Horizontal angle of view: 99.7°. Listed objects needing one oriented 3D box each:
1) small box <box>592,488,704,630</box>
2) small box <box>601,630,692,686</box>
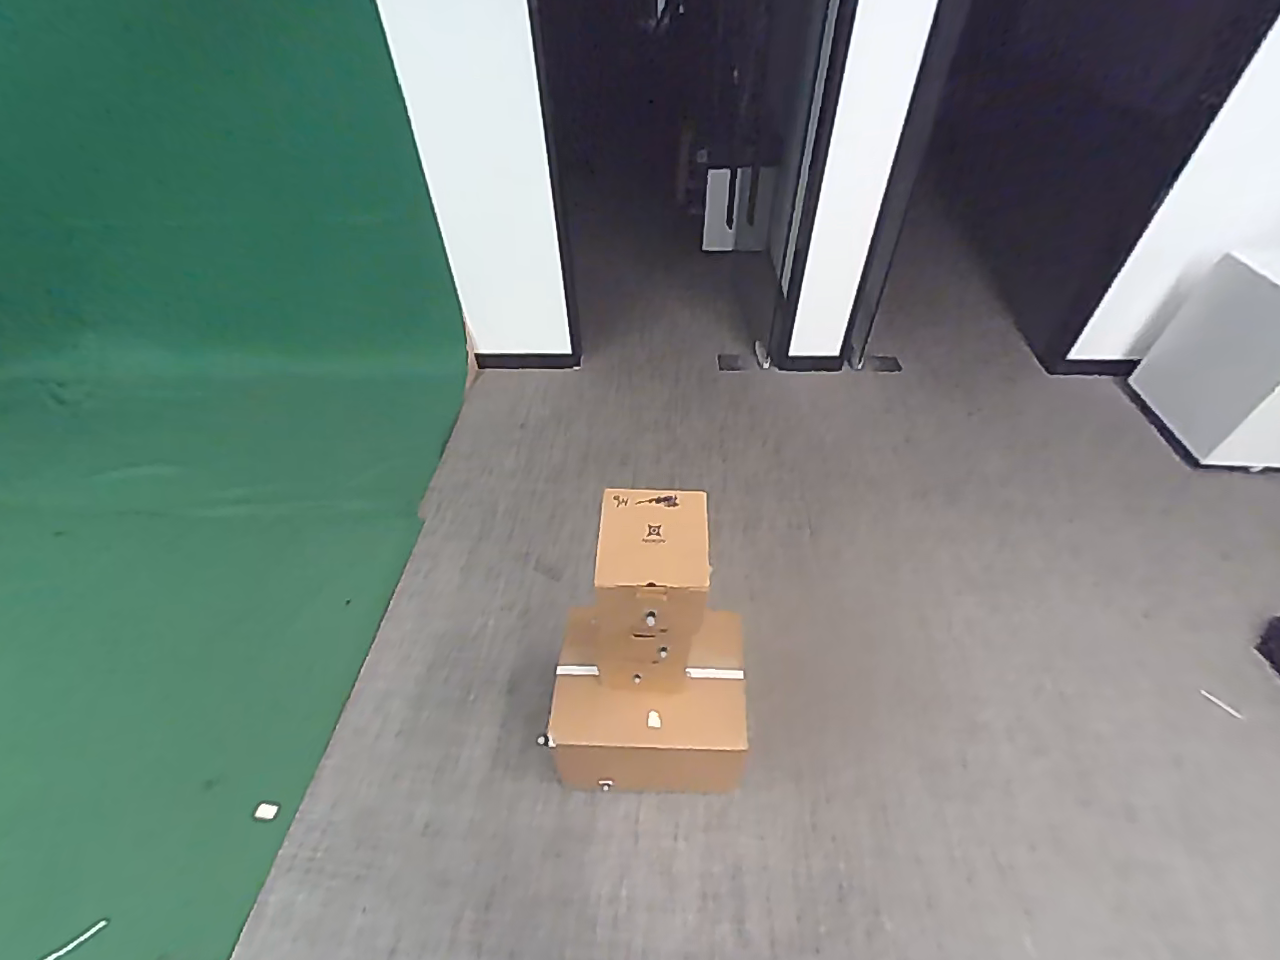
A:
[{"bbox_3d":[0.019,0.133,0.882,0.168,0.176,0.179,2,53,3],"label":"small box"},{"bbox_3d":[0.014,0.327,1.143,0.179,0.176,0.168,0,52,2],"label":"small box"}]
